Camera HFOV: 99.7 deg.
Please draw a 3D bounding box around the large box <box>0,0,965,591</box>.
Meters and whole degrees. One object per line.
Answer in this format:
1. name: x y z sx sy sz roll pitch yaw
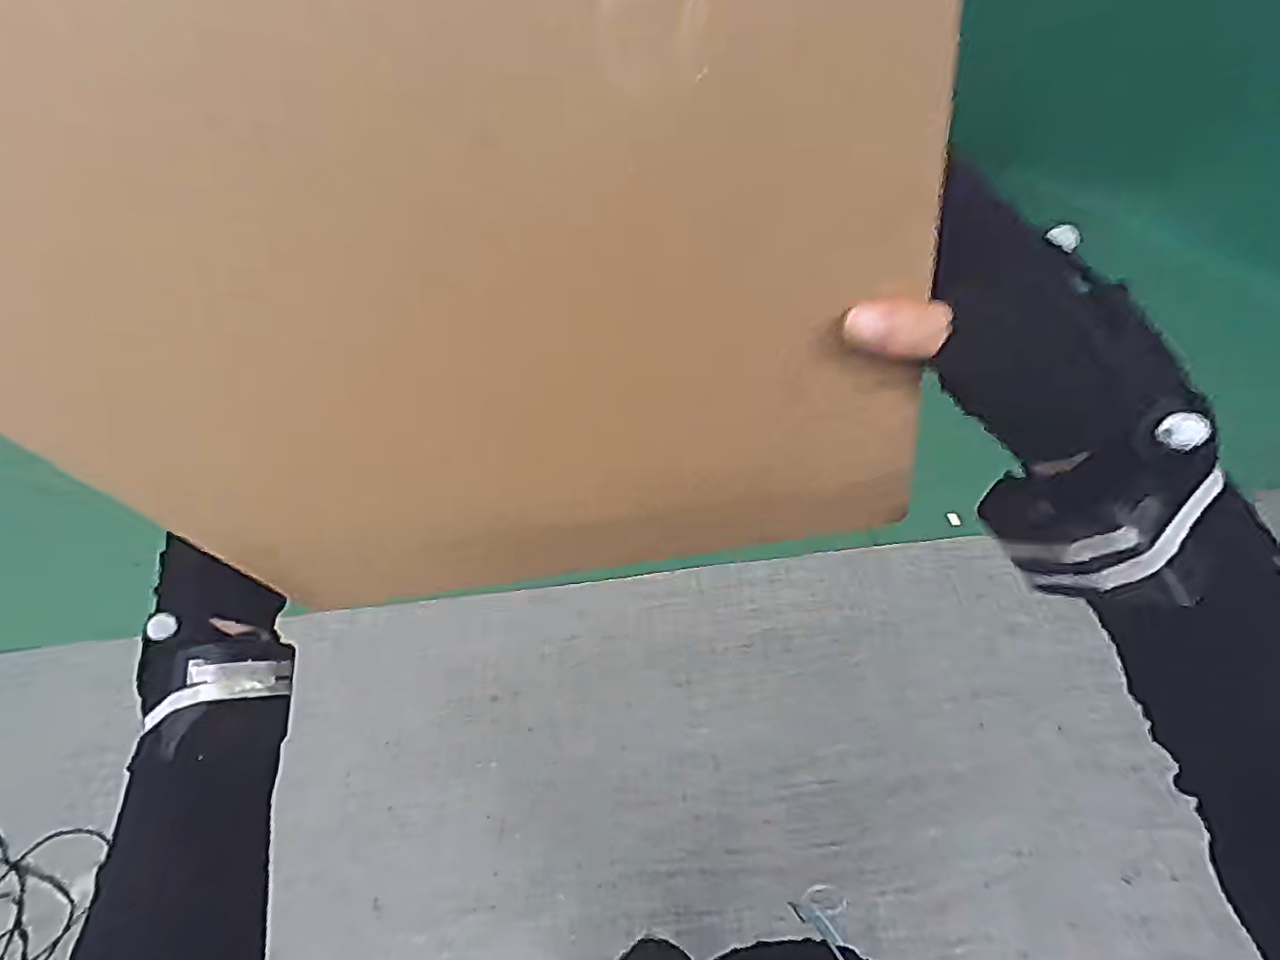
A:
1. large box: -0.080 -0.158 0.338 0.408 0.320 0.320 -10 50 13
